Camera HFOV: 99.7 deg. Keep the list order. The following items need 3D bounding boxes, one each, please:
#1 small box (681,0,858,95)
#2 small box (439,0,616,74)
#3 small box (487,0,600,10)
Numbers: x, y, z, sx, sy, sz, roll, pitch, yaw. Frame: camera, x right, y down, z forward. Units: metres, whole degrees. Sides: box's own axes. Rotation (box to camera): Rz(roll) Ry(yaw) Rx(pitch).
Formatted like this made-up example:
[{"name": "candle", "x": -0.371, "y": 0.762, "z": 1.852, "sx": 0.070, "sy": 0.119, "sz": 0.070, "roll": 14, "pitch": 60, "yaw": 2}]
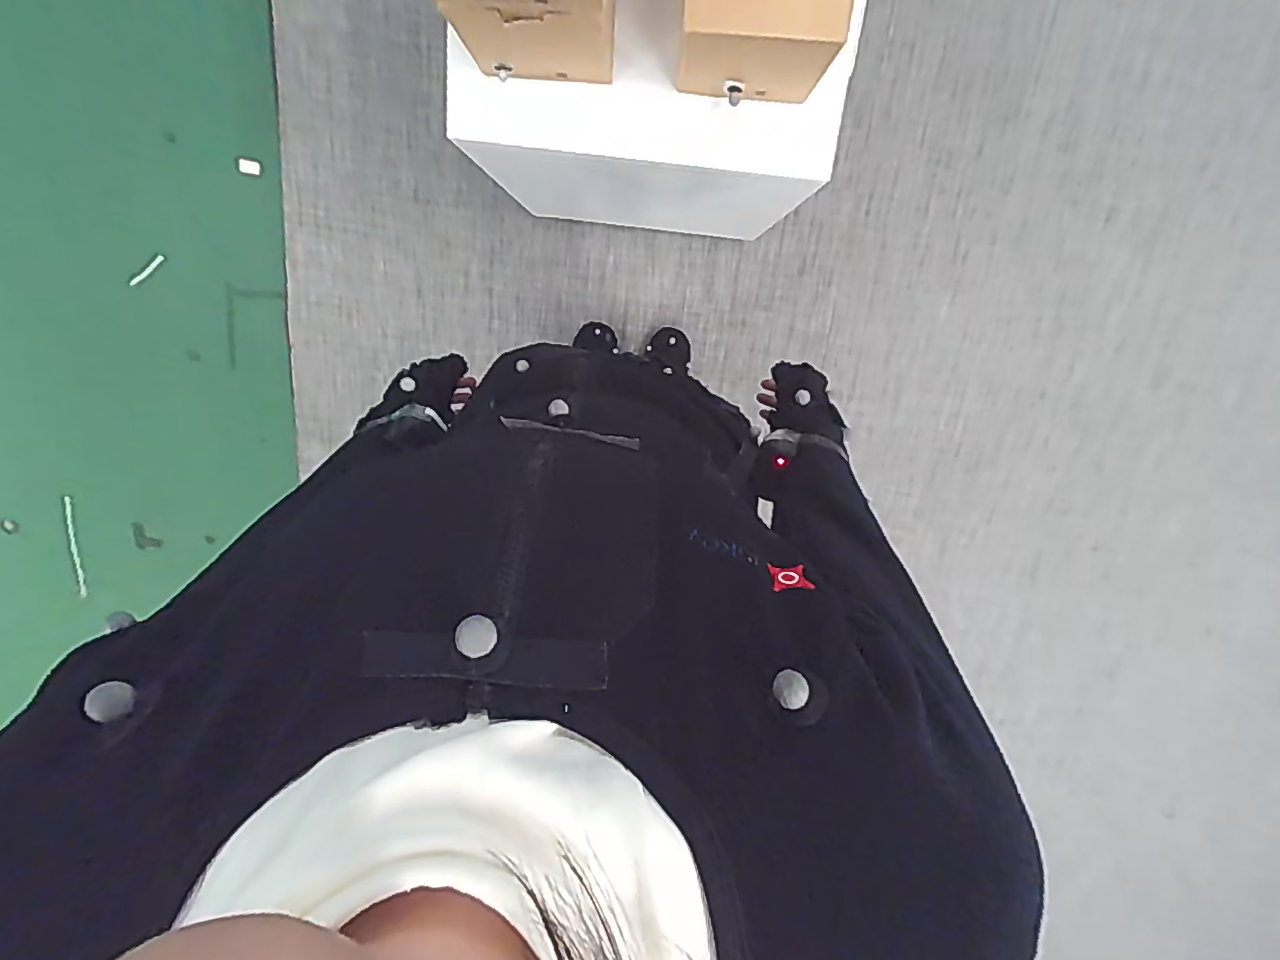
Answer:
[{"name": "small box", "x": 0.133, "y": -0.542, "z": 0.570, "sx": 0.168, "sy": 0.176, "sz": 0.179, "roll": 4, "pitch": 109, "yaw": 2}, {"name": "small box", "x": -0.112, "y": -0.572, "z": 0.581, "sx": 0.168, "sy": 0.176, "sz": 0.179, "roll": 4, "pitch": 106, "yaw": 0}, {"name": "small box", "x": -0.111, "y": -0.526, "z": 0.426, "sx": 0.168, "sy": 0.176, "sz": 0.179, "roll": 4, "pitch": 106, "yaw": 0}]
